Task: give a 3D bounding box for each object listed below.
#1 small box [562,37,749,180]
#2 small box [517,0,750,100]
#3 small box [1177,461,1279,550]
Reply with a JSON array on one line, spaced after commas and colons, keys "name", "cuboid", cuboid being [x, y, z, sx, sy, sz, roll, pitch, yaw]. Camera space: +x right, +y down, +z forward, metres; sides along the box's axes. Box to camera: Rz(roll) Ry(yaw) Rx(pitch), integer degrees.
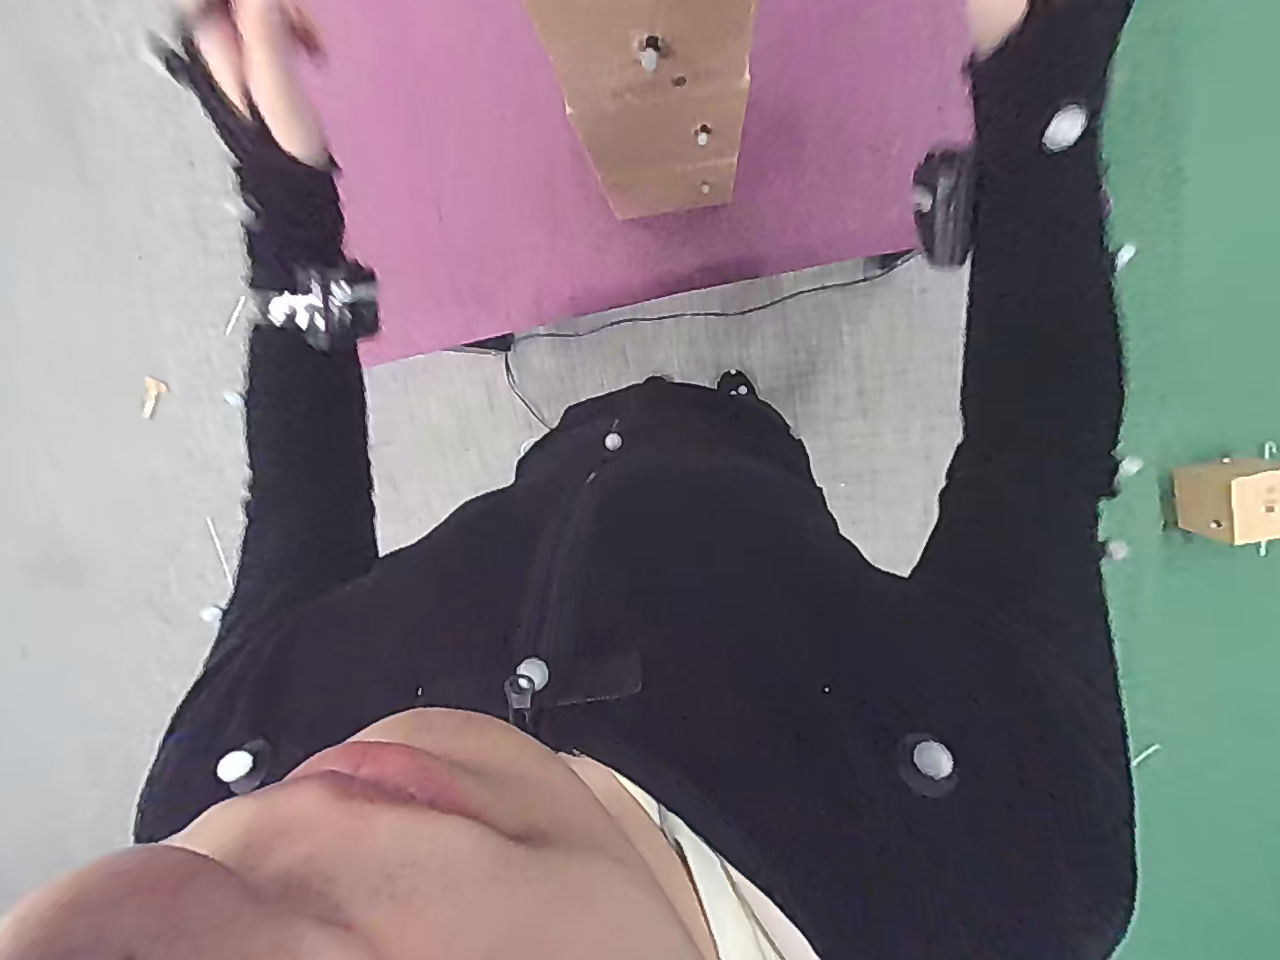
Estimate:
[{"name": "small box", "cuboid": [0.015, -0.445, 0.573, 0.179, 0.176, 0.168, -5, 98, 7]}, {"name": "small box", "cuboid": [-0.003, -0.425, 0.412, 0.168, 0.176, 0.179, -5, 99, 6]}, {"name": "small box", "cuboid": [1.538, 0.061, 1.385, 0.168, 0.176, 0.179, -12, 99, 9]}]
